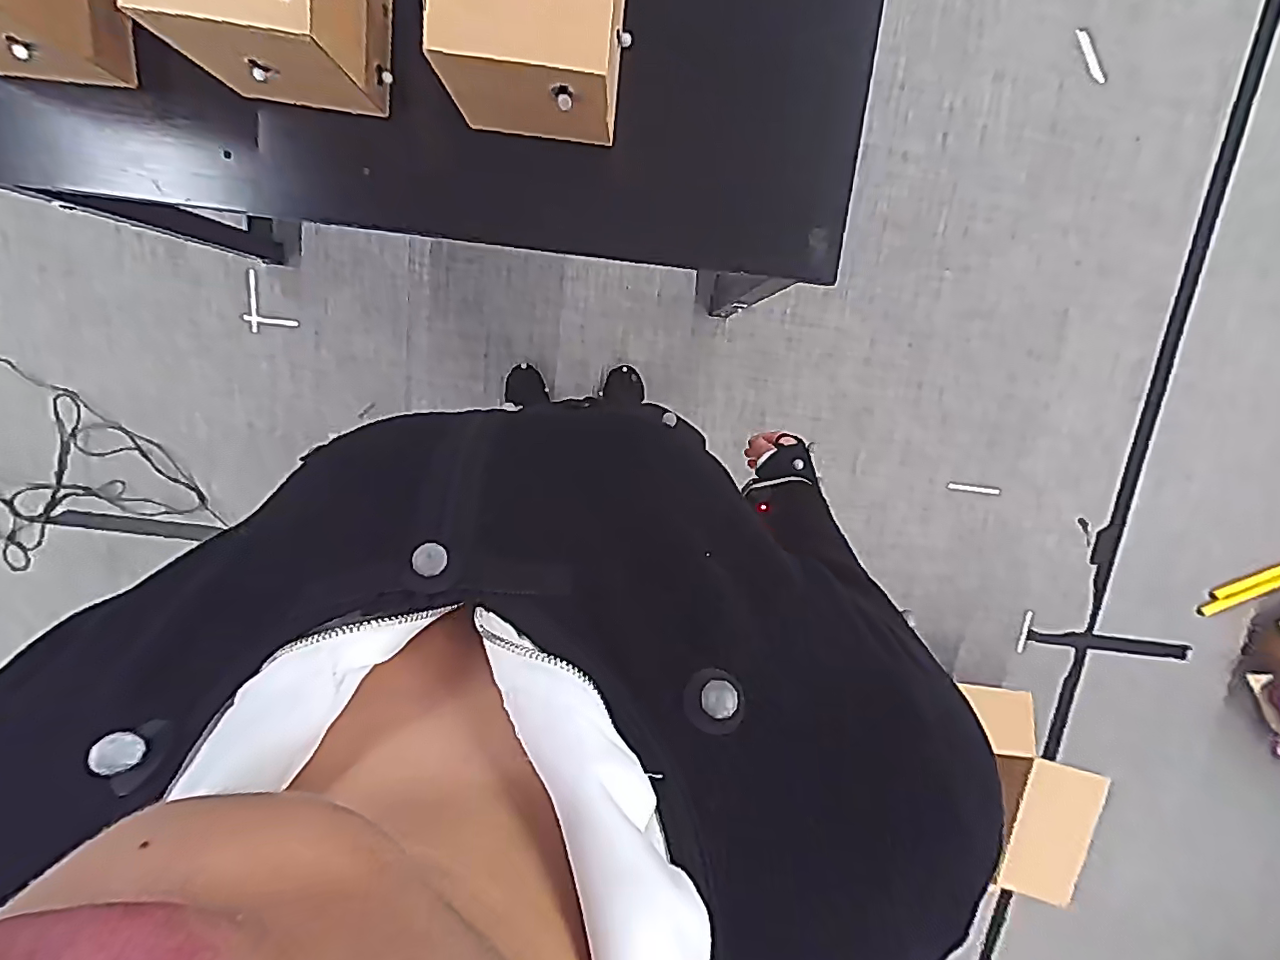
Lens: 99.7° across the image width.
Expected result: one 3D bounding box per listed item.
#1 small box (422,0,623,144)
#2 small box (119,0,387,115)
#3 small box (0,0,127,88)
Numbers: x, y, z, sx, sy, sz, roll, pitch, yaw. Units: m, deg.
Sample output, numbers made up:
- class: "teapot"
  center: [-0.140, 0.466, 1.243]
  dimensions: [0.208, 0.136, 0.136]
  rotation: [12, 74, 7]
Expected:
- class: "small box"
  center: [-0.112, -0.484, 0.574]
  dimensions: [0.179, 0.176, 0.168]
  rotation: [6, 101, -2]
- class: "small box"
  center: [-0.381, -0.511, 0.560]
  dimensions: [0.179, 0.176, 0.168]
  rotation: [7, 101, -2]
- class: "small box"
  center: [-0.675, -0.533, 0.548]
  dimensions: [0.179, 0.176, 0.168]
  rotation: [4, 100, -2]
